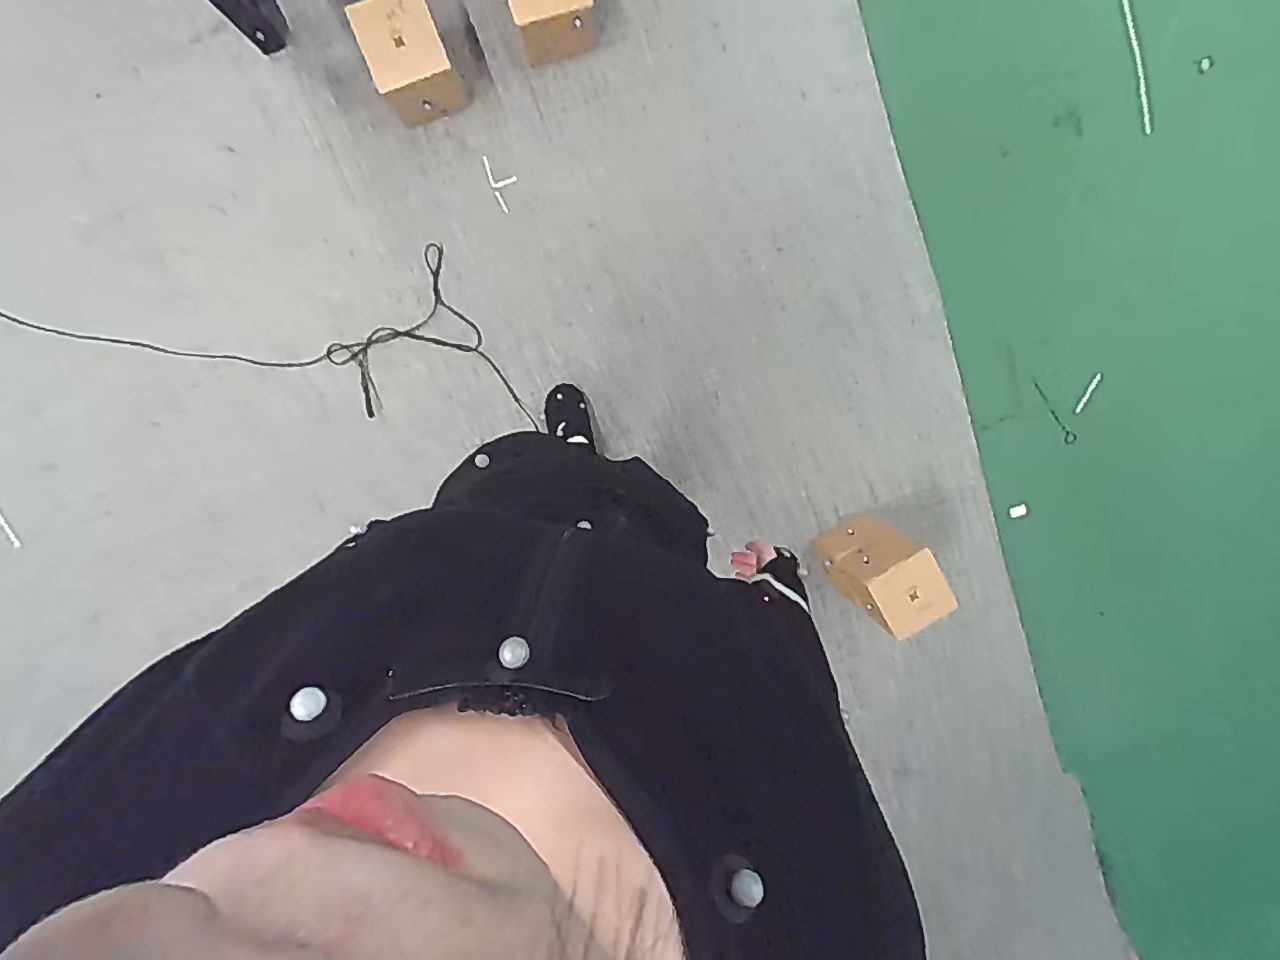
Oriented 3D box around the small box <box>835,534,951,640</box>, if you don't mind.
[{"bbox_3d":[0.611,0.250,1.328,0.168,0.176,0.179,-30,101,3],"label":"small box"}]
